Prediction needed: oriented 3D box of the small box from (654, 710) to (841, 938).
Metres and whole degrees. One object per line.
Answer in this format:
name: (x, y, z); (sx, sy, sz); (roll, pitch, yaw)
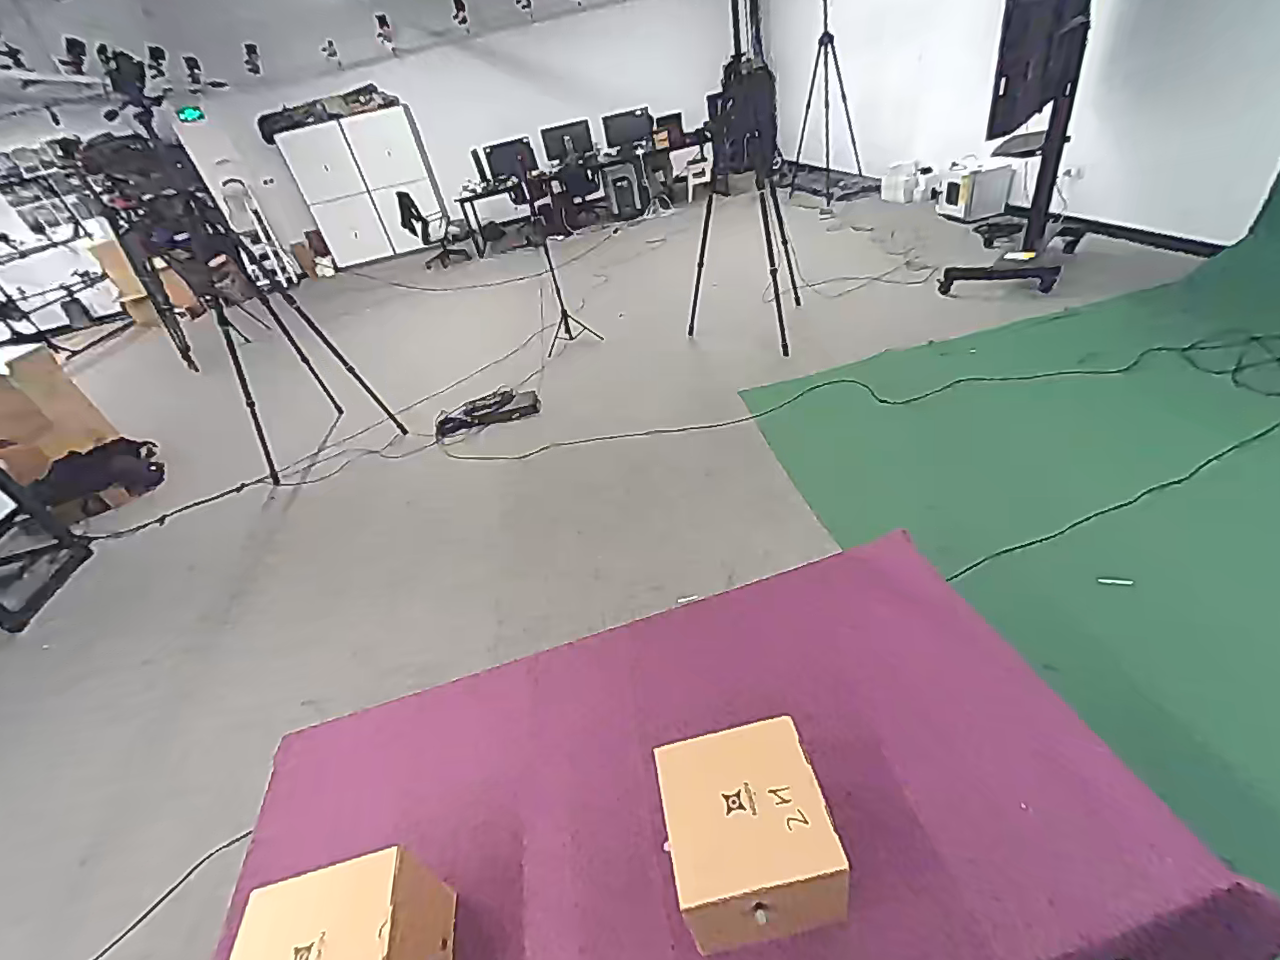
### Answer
small box: (0.127, 0.413, 0.649); (0.179, 0.176, 0.168); (-14, 37, 1)

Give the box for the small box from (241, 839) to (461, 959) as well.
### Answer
small box: (-0.328, 0.558, 0.622); (0.179, 0.176, 0.168); (-16, 36, -3)
